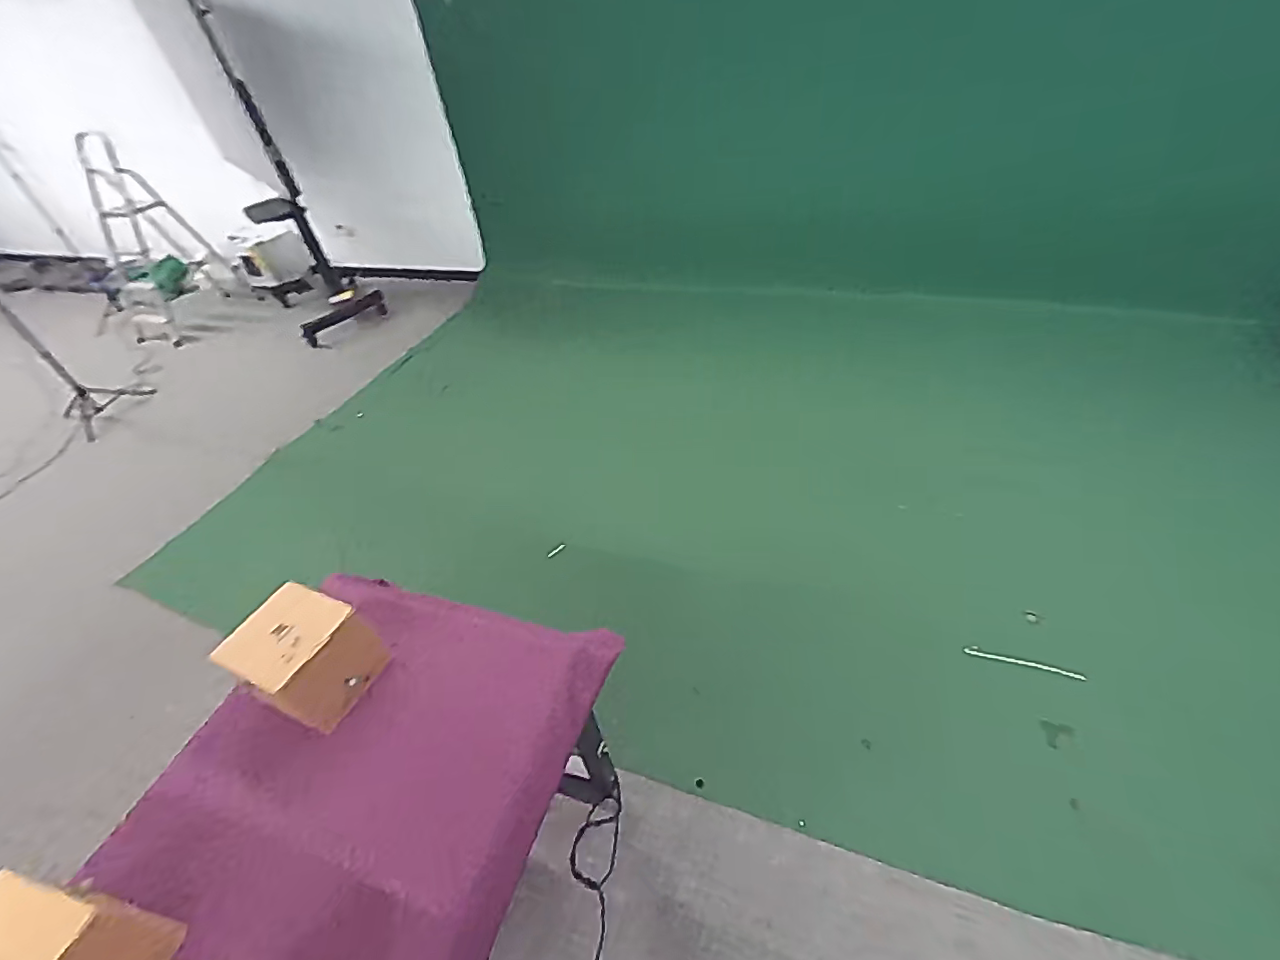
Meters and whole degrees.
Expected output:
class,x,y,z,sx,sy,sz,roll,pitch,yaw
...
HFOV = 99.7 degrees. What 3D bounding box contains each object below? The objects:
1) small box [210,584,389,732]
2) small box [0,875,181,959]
class,x,y,z,sx,sy,sz,roll,pitch,yaw
small box,-0.594,0.319,0.965,0.179,0.176,0.168,14,48,21
small box,-0.742,0.624,0.665,0.179,0.176,0.168,6,44,13
